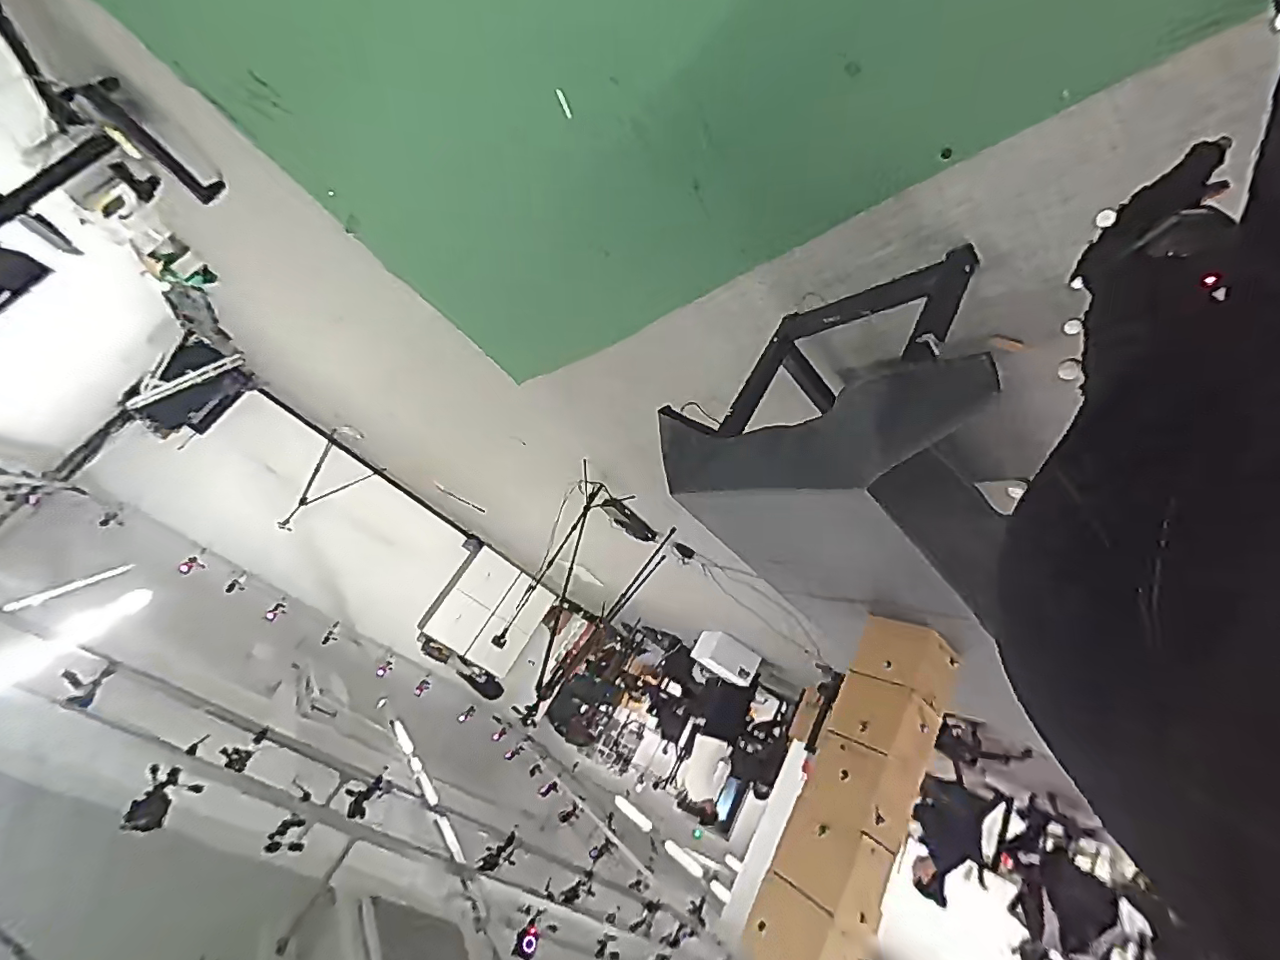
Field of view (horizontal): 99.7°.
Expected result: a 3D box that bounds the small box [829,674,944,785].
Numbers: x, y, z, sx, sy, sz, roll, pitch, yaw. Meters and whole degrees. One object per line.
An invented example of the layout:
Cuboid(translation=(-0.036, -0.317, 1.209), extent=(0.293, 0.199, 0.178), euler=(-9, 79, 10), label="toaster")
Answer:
Cuboid(translation=(0.609, 0.604, 1.334), extent=(0.168, 0.176, 0.179), euler=(43, 156, -23), label="small box")

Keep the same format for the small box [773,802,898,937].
Cuboid(translation=(0.440, 0.855, 1.209), extent=(0.168, 0.176, 0.179), euler=(44, 156, -26), label="small box")

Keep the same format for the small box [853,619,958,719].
Cuboid(translation=(0.691, 0.478, 1.394), extent=(0.168, 0.176, 0.179), euler=(43, 158, -23), label="small box")

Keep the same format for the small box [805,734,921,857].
Cuboid(translation=(0.526, 0.731, 1.271), extent=(0.179, 0.176, 0.168), euler=(44, 156, -25), label="small box")
